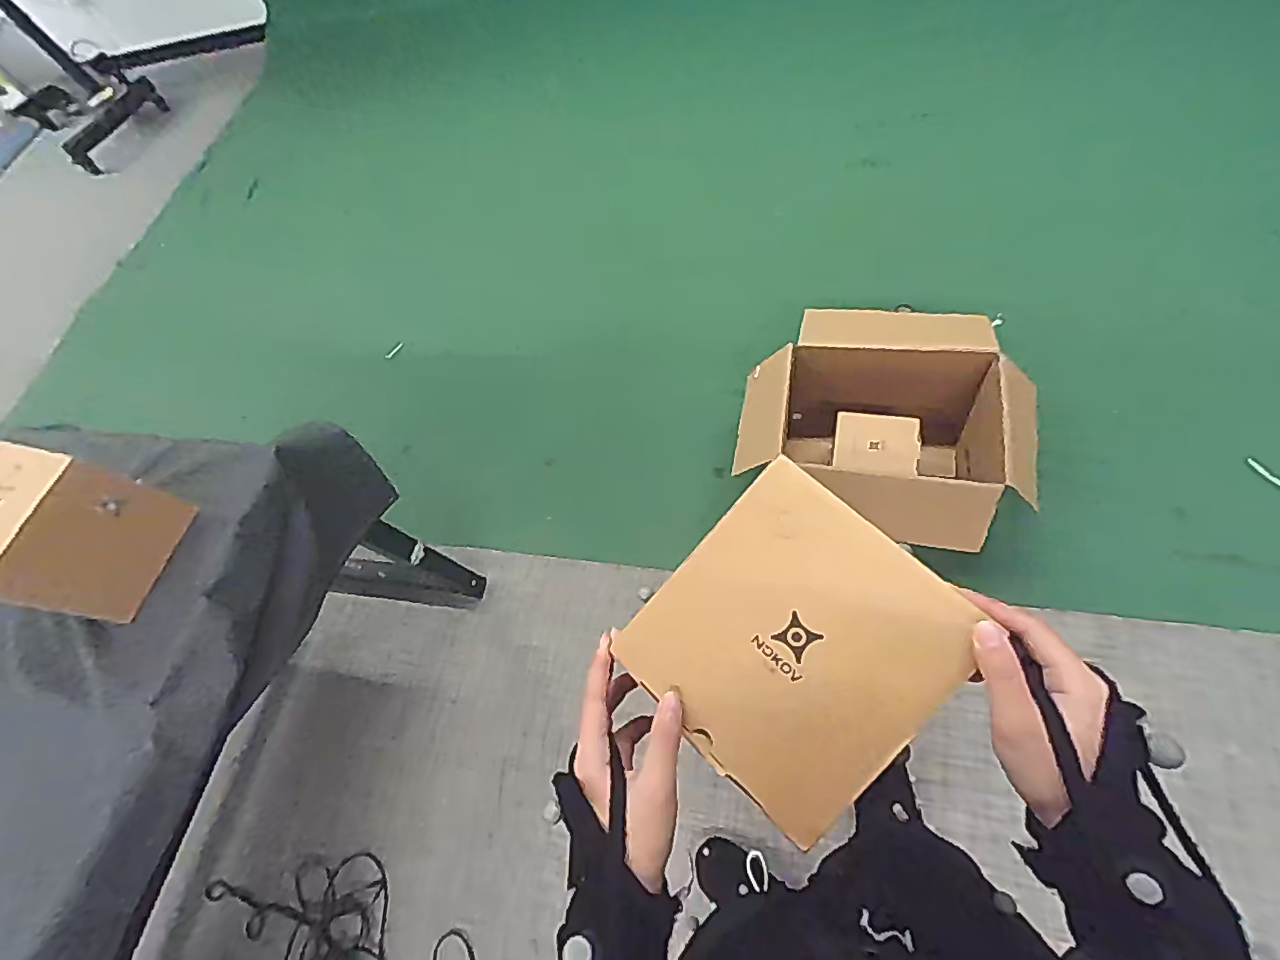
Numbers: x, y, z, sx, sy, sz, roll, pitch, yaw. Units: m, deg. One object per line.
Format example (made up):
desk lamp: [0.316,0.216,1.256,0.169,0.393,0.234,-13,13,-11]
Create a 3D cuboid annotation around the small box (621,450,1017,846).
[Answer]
small box: [0.117,0.106,0.403,0.168,0.176,0.179,42,93,17]
